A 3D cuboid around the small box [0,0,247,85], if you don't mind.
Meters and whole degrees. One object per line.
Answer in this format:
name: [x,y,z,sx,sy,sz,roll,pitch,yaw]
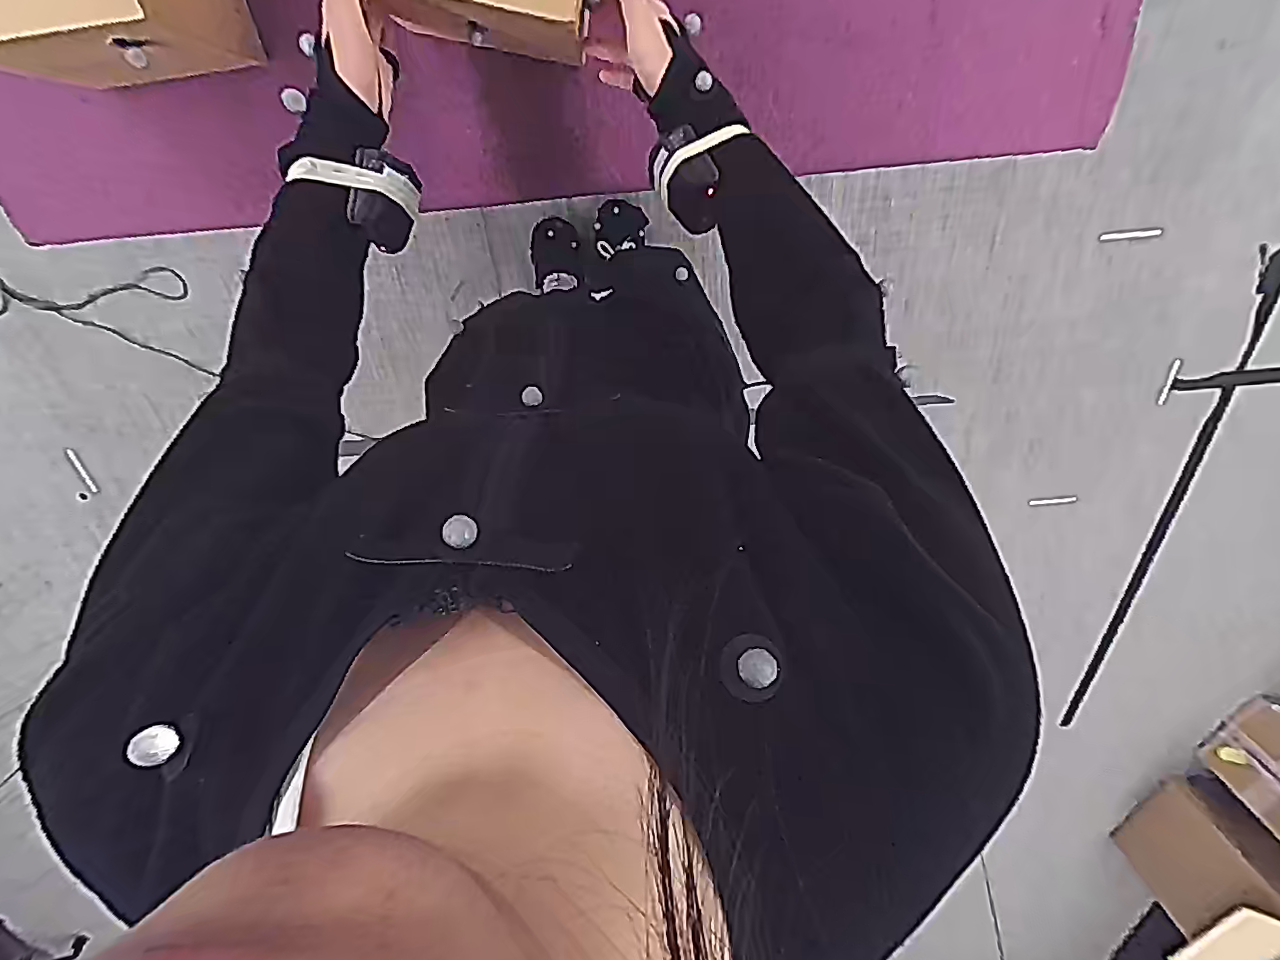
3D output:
small box: [-0.456,-0.431,0.423,0.179,0.176,0.168,-8,118,0]
